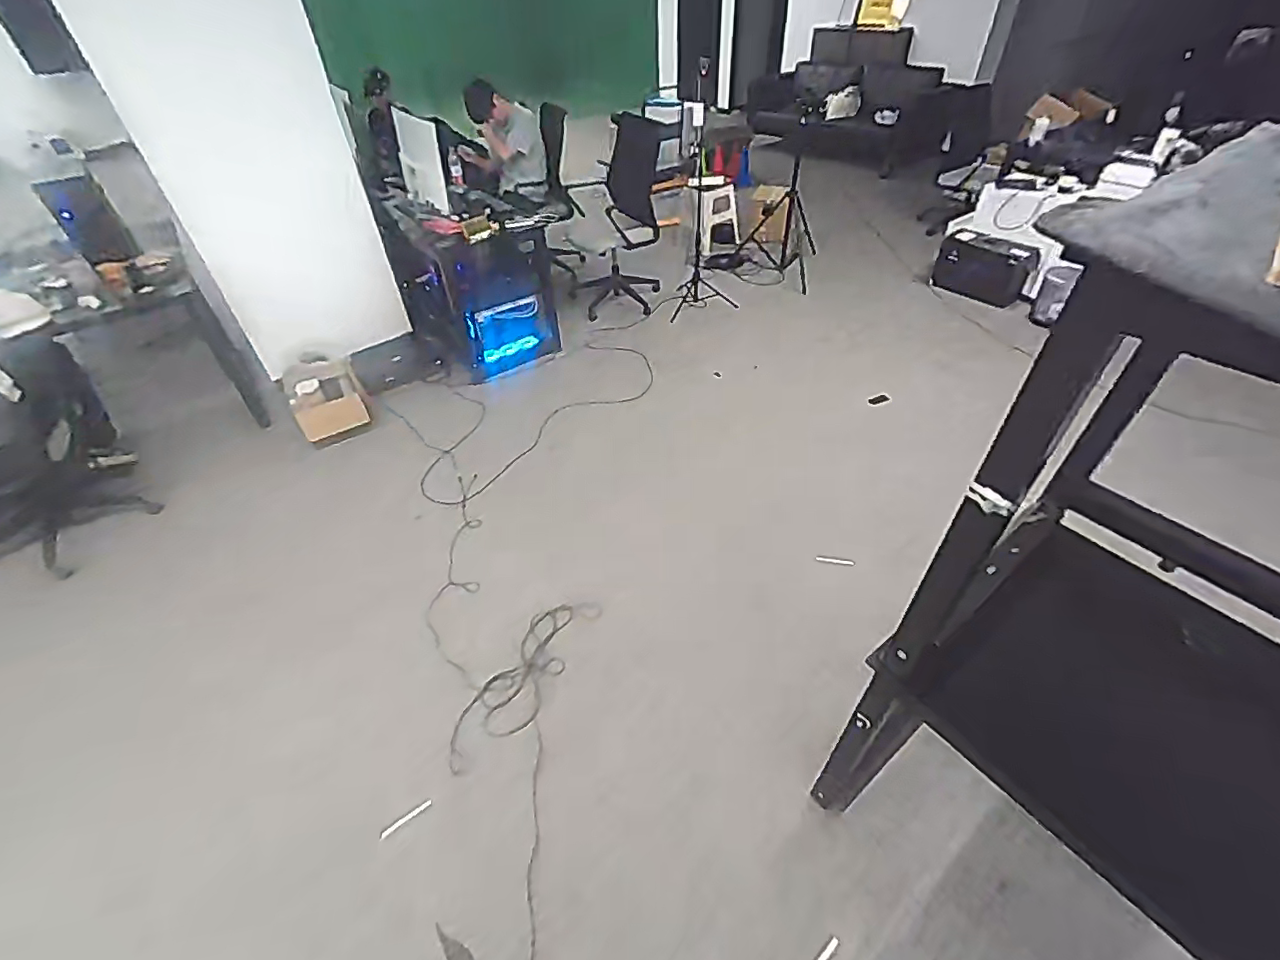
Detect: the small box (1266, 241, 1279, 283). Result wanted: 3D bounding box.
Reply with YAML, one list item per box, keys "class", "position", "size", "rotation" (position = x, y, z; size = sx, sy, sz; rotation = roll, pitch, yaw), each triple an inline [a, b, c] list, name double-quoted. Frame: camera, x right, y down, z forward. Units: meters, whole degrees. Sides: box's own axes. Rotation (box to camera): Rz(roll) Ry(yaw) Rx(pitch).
- class: "small box"
  position: [0.577, -0.204, 0.338]
  size: [0.179, 0.176, 0.168]
  rotation: [33, 53, 31]
